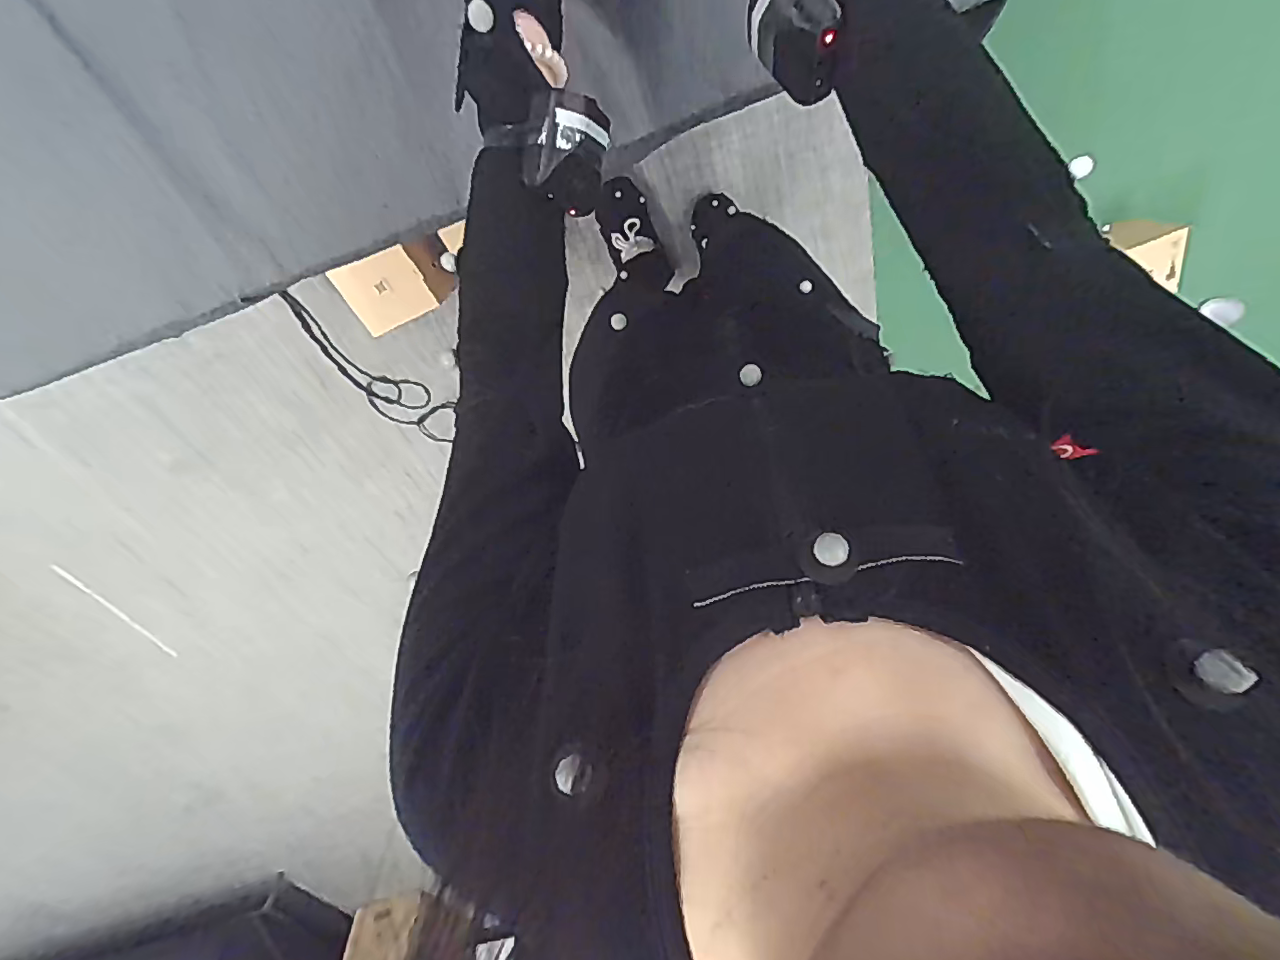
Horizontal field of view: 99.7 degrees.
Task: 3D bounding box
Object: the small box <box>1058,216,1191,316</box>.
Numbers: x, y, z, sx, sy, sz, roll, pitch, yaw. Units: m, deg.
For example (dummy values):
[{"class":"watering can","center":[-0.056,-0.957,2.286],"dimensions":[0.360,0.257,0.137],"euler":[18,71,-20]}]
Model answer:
[{"class":"small box","center":[1.184,-0.533,1.340],"dimensions":[0.179,0.176,0.168],"euler":[-19,124,8]}]
